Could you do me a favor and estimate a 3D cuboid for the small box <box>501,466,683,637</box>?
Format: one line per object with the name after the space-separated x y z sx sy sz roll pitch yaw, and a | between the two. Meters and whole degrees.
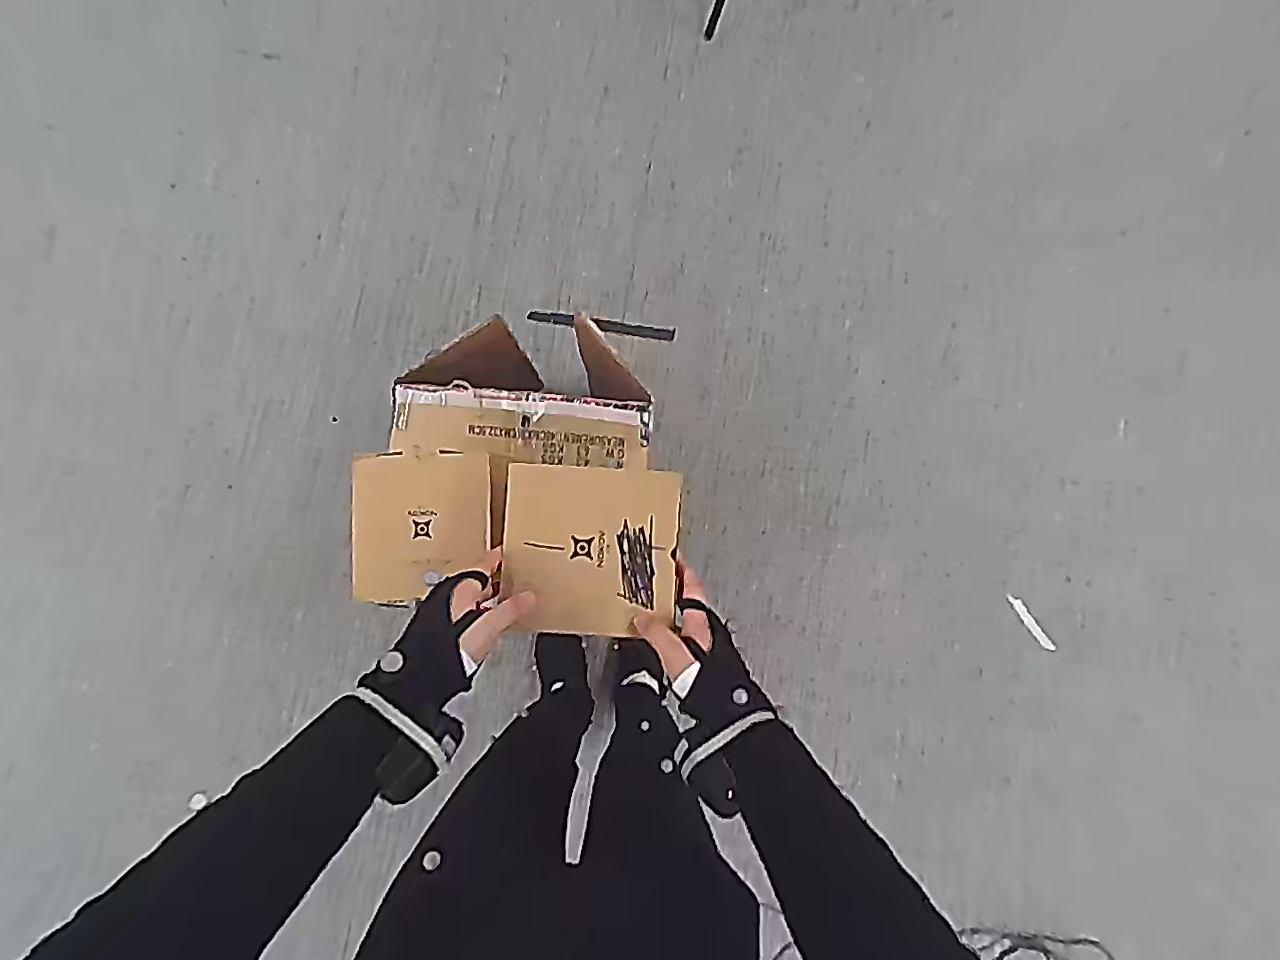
-0.049 0.078 0.621 0.179 0.176 0.168 3 84 -1 | small box

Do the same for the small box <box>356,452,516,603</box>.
-0.254 0.059 0.719 0.168 0.176 0.179 -2 89 0 | small box
